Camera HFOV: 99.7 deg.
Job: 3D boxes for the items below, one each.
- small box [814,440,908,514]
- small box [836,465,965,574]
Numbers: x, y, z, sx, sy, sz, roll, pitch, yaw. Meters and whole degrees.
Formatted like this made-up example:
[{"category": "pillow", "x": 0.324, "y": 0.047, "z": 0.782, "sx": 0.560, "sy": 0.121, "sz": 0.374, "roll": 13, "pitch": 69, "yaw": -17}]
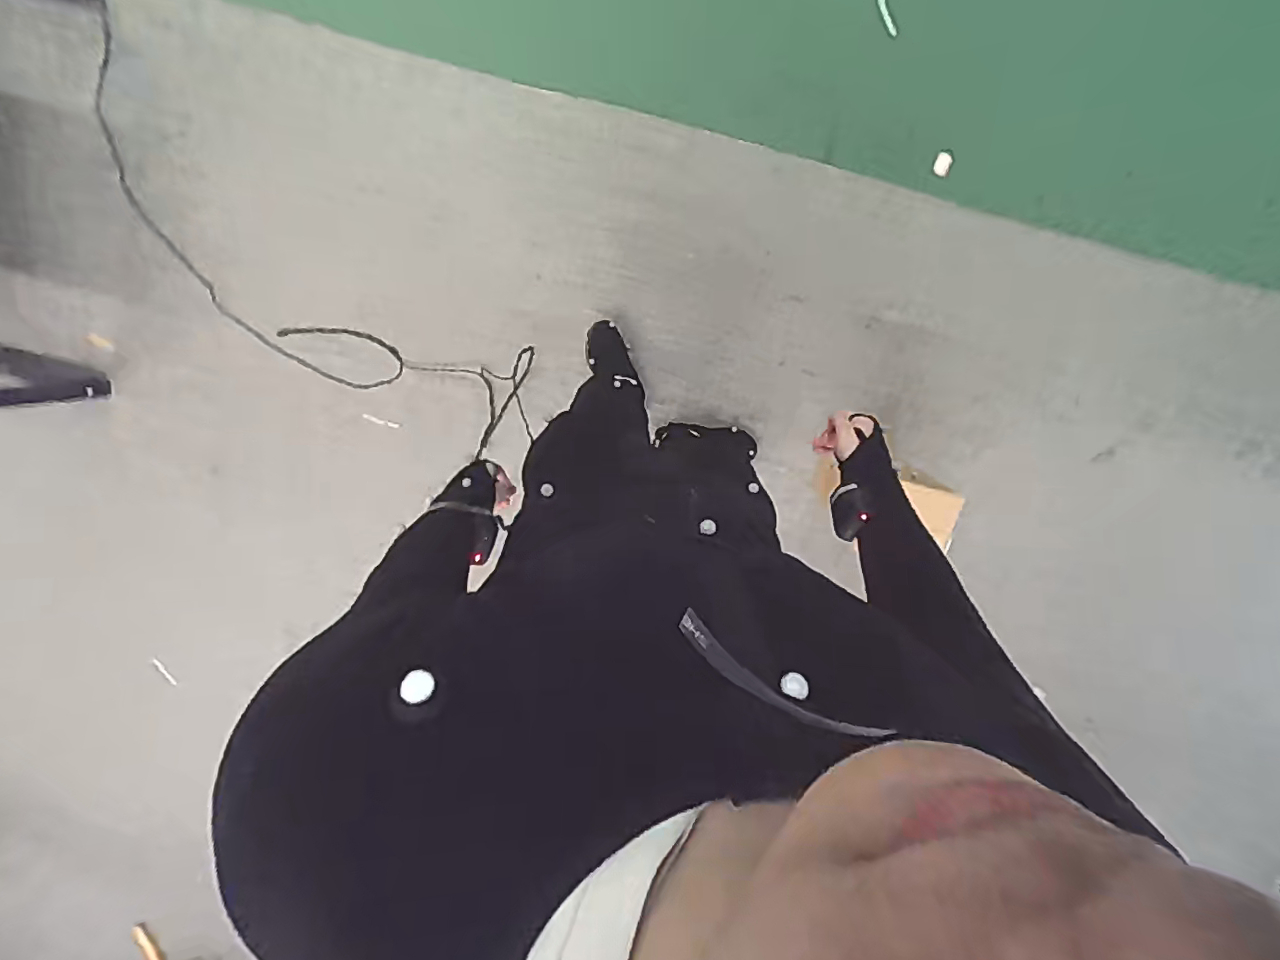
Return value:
[{"category": "small box", "x": 0.589, "y": 0.001, "z": 1.471, "sx": 0.168, "sy": 0.176, "sz": 0.179, "roll": 17, "pitch": 106, "yaw": 3}, {"category": "small box", "x": 0.540, "y": 0.075, "z": 1.155, "sx": 0.179, "sy": 0.176, "sz": 0.168, "roll": 15, "pitch": 105, "yaw": 2}]
